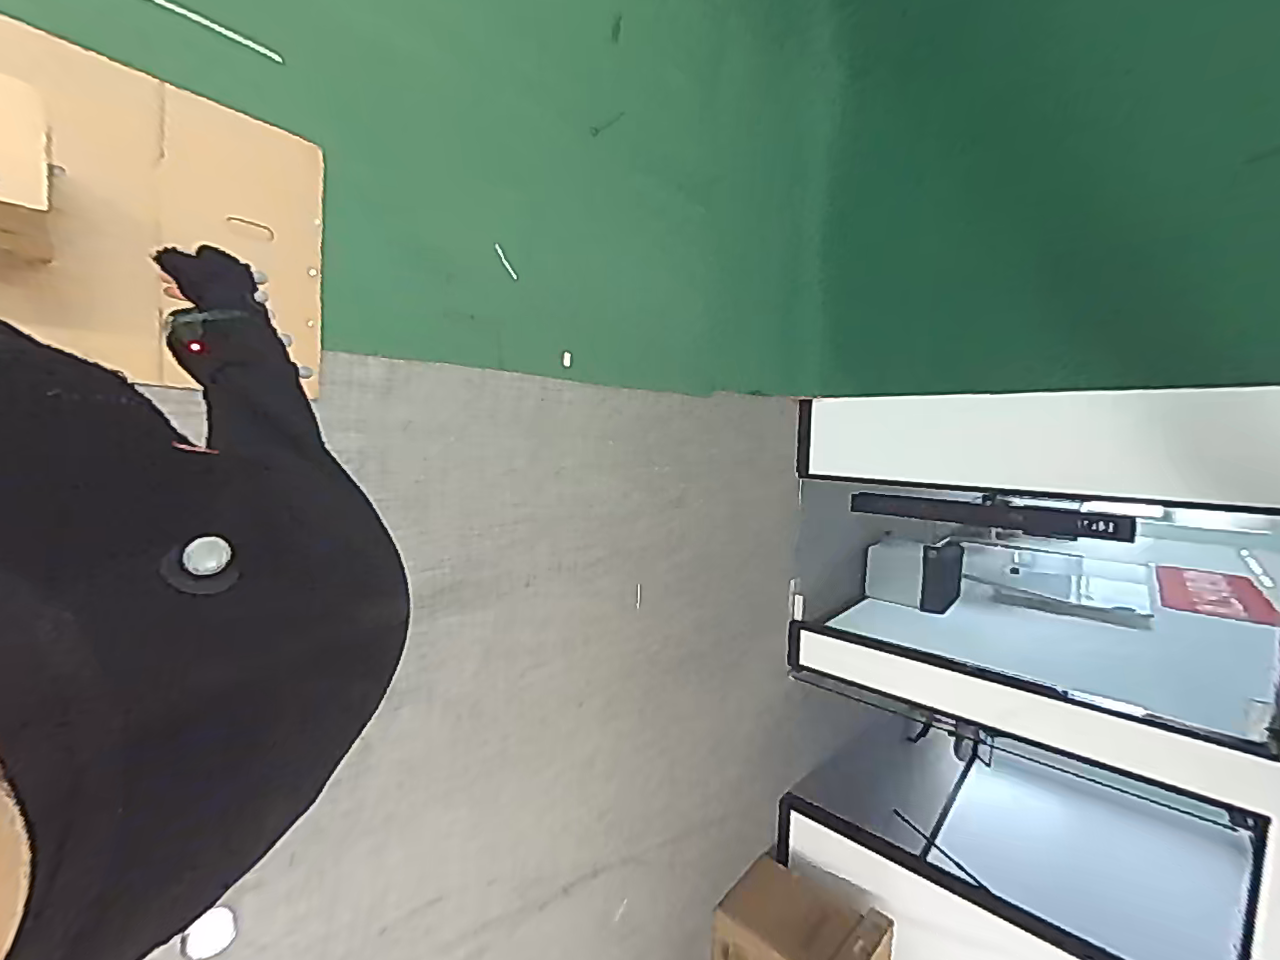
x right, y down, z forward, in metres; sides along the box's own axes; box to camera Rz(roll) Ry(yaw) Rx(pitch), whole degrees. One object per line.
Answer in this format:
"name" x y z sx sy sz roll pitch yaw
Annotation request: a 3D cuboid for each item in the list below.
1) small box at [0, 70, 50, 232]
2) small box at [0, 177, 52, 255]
"small box" -0.952 -0.473 0.757 0.168 0.176 0.179 0 94 -47
"small box" -1.072 -0.485 0.869 0.168 0.176 0.179 -2 97 -46
